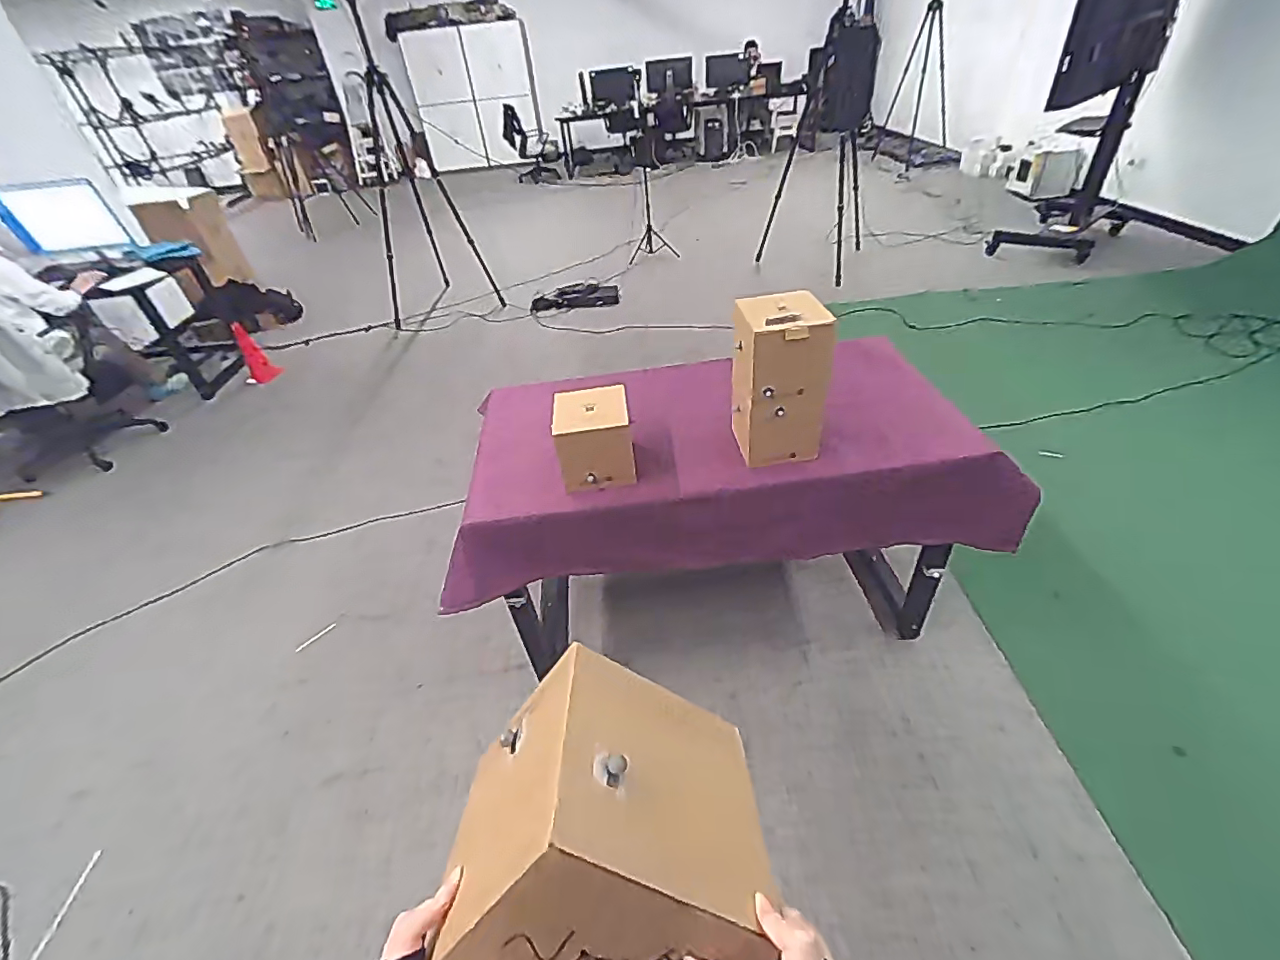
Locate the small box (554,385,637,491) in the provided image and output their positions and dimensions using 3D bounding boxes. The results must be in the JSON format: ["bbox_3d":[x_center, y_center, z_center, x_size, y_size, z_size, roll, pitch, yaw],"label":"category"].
[{"bbox_3d":[-0.099,-0.097,1.250,0.168,0.176,0.179,-7,40,1],"label":"small box"}]

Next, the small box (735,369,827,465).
[{"bbox_3d":[0.317,-0.156,1.255,0.168,0.176,0.179,-9,39,1],"label":"small box"}]

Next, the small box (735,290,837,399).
[{"bbox_3d":[0.302,-0.283,1.151,0.168,0.176,0.179,-8,39,-1],"label":"small box"}]
